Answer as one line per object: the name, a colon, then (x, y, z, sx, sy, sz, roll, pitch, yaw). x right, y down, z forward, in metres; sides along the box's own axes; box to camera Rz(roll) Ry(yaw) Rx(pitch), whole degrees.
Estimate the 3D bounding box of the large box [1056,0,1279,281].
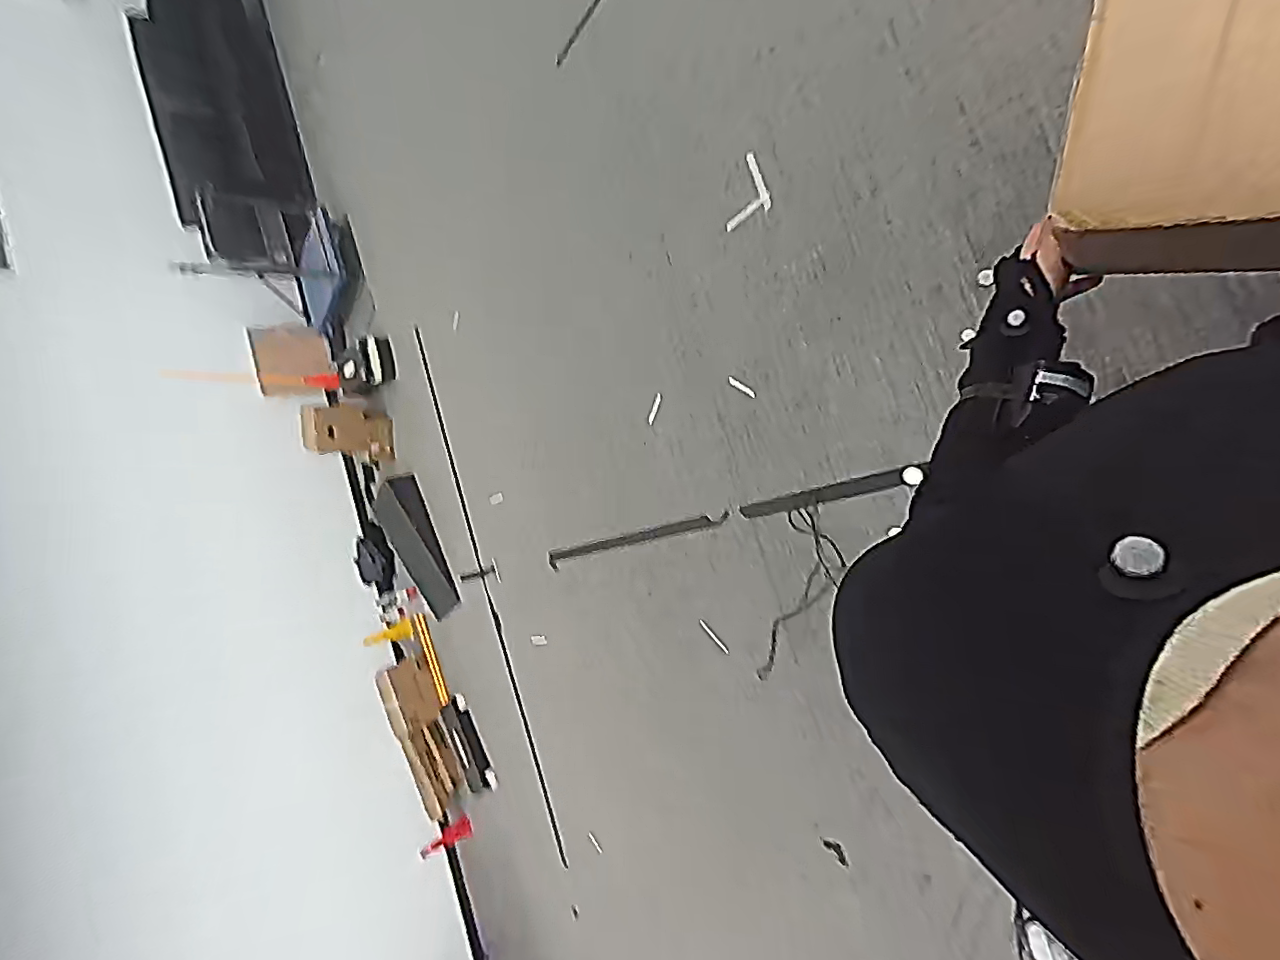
large box: (0.451, -0.269, 0.227, 0.408, 0.320, 0.320, 12, 110, 36)
